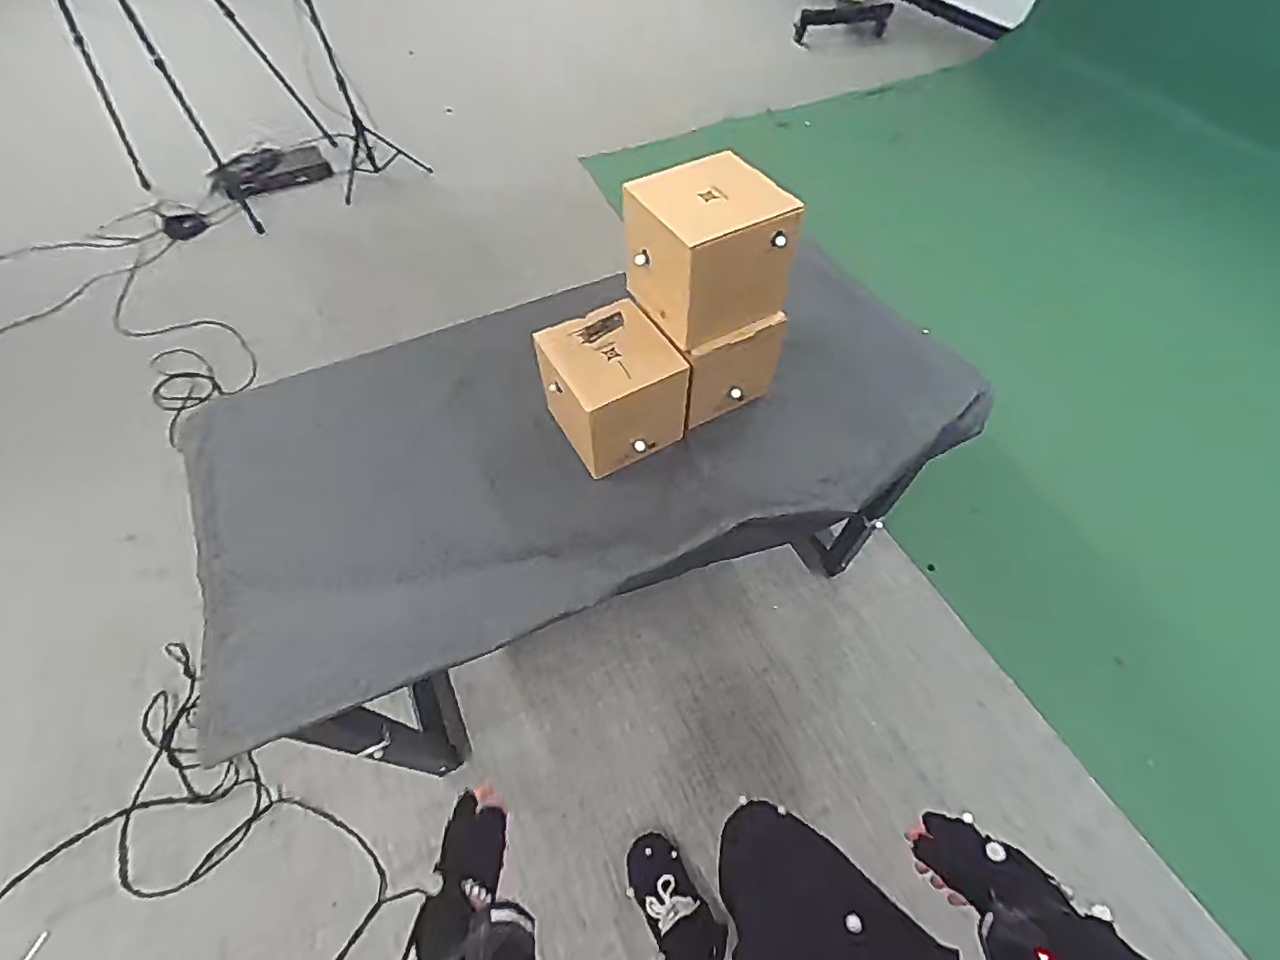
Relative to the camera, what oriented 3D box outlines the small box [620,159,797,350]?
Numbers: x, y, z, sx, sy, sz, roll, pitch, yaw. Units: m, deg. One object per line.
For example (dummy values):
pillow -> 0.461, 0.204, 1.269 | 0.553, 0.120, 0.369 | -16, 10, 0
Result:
small box -> 0.089, -0.313, 0.764 | 0.179, 0.176, 0.168 | -26, 60, -17
